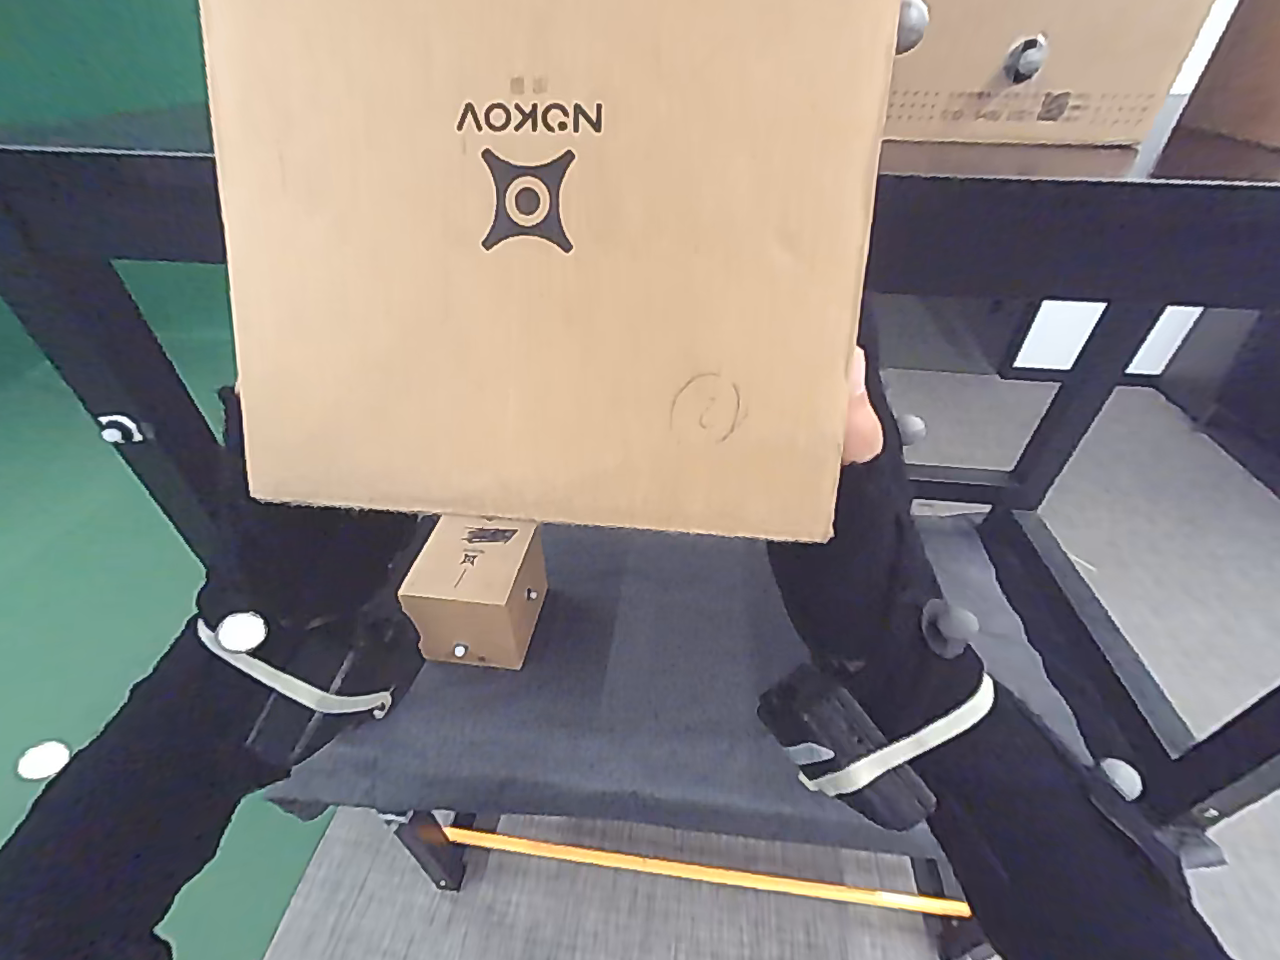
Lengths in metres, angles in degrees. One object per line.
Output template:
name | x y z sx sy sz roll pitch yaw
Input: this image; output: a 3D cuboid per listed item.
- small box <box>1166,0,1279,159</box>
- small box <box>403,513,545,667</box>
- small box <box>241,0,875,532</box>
small box | 0.487 -0.290 0.323 0.168 0.176 0.179 12 40 14
small box | -0.261 0.180 0.898 0.168 0.176 0.179 5 39 5
small box | -0.018 -0.091 0.224 0.168 0.179 0.176 4 11 5
